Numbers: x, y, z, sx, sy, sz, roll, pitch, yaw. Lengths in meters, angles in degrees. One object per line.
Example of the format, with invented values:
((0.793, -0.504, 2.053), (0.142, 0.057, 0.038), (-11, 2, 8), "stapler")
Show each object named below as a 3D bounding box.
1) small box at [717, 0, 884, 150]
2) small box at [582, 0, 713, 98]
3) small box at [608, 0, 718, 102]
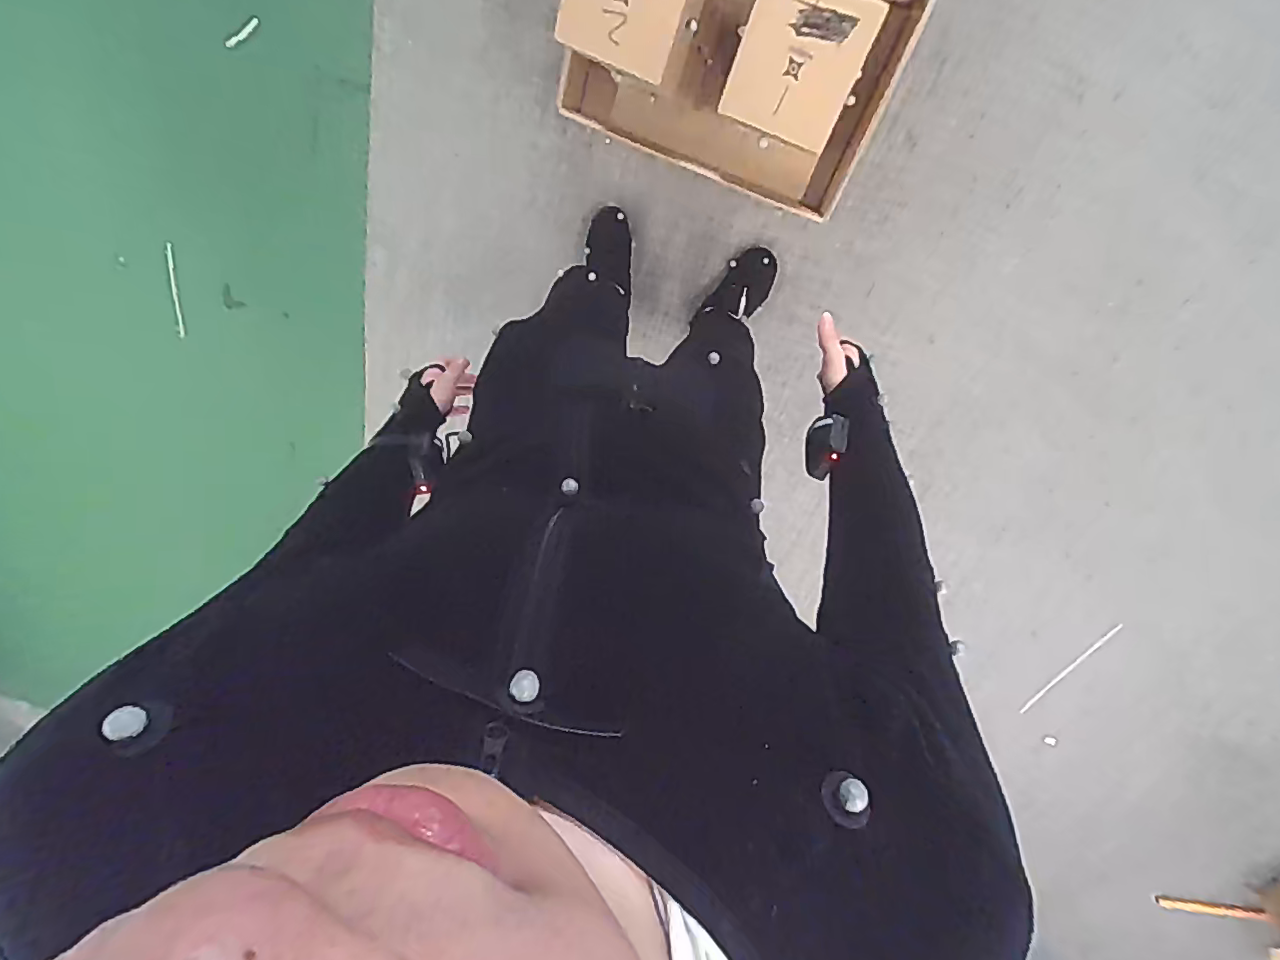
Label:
((0.229, -0.620, 0.807), (0.168, 0.176, 0.179), (23, 123, 0), "small box")
((0.020, -0.798, 0.933), (0.168, 0.176, 0.179), (25, 122, -3), "small box")
((0.052, -0.879, 1.073), (0.168, 0.176, 0.179), (19, 123, -2), "small box")
